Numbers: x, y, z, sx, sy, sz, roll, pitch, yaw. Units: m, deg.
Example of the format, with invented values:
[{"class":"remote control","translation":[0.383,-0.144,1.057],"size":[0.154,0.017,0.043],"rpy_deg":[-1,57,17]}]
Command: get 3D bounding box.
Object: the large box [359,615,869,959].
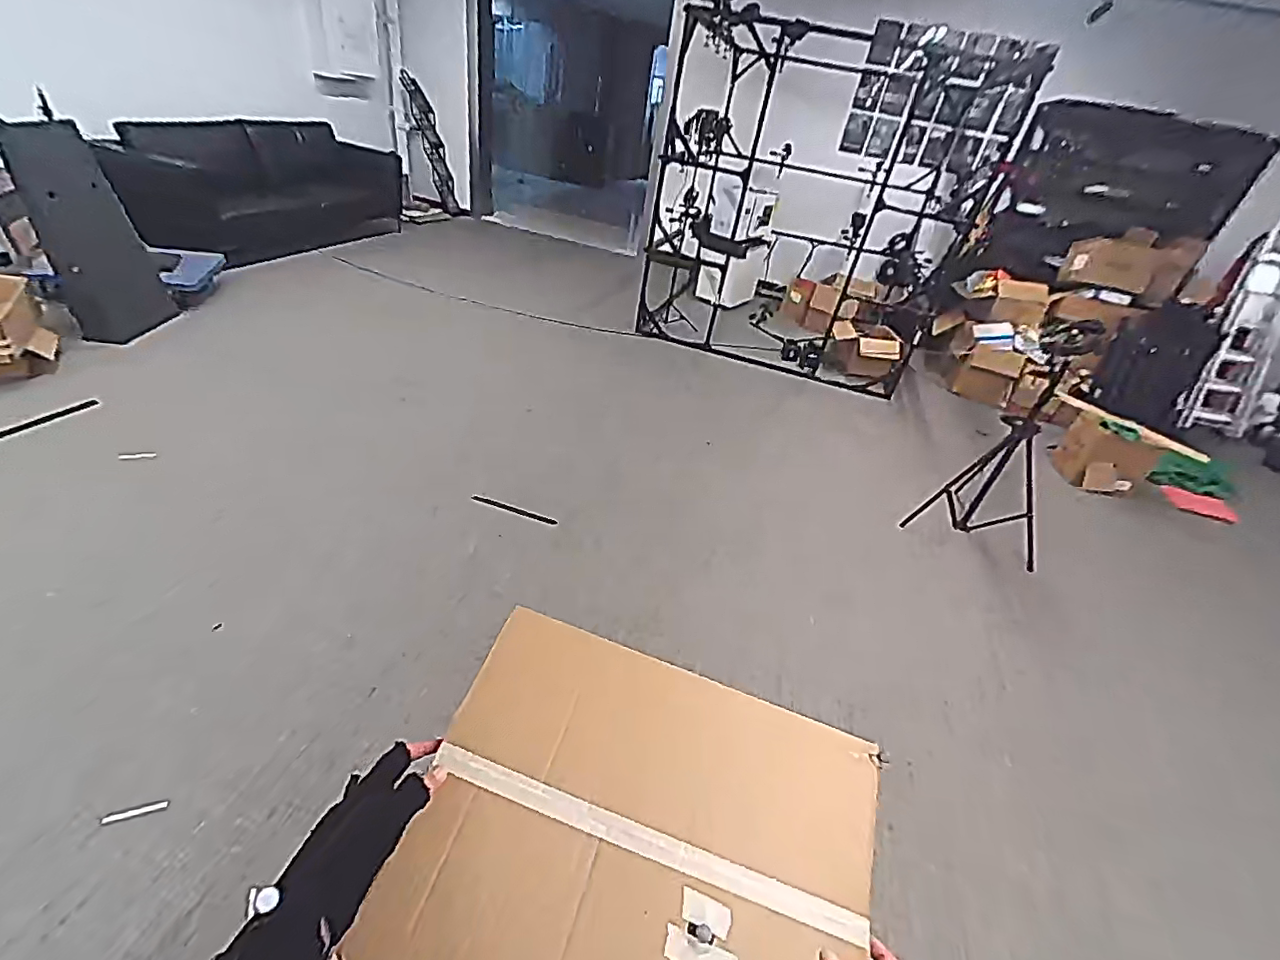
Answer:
[{"class":"large box","translation":[-0.013,0.412,0.617],"size":[0.408,0.320,0.320],"rpy_deg":[20,54,6]}]
